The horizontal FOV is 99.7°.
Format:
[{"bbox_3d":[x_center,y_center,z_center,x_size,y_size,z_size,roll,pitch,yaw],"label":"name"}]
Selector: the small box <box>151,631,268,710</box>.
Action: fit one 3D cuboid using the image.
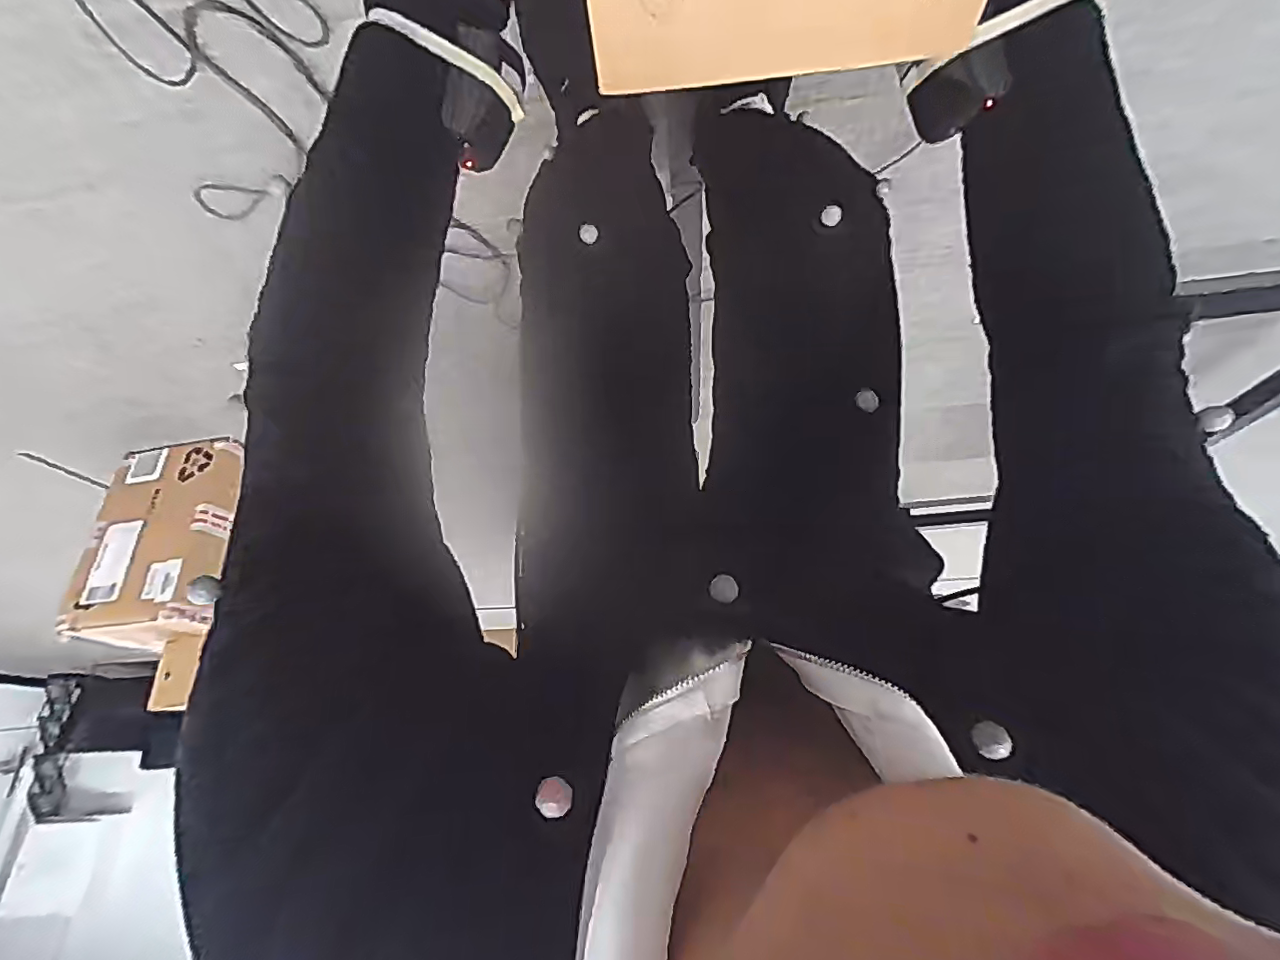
[{"bbox_3d":[-1.143,0.515,1.453,0.179,0.176,0.168,-14,154,13],"label":"small box"}]
